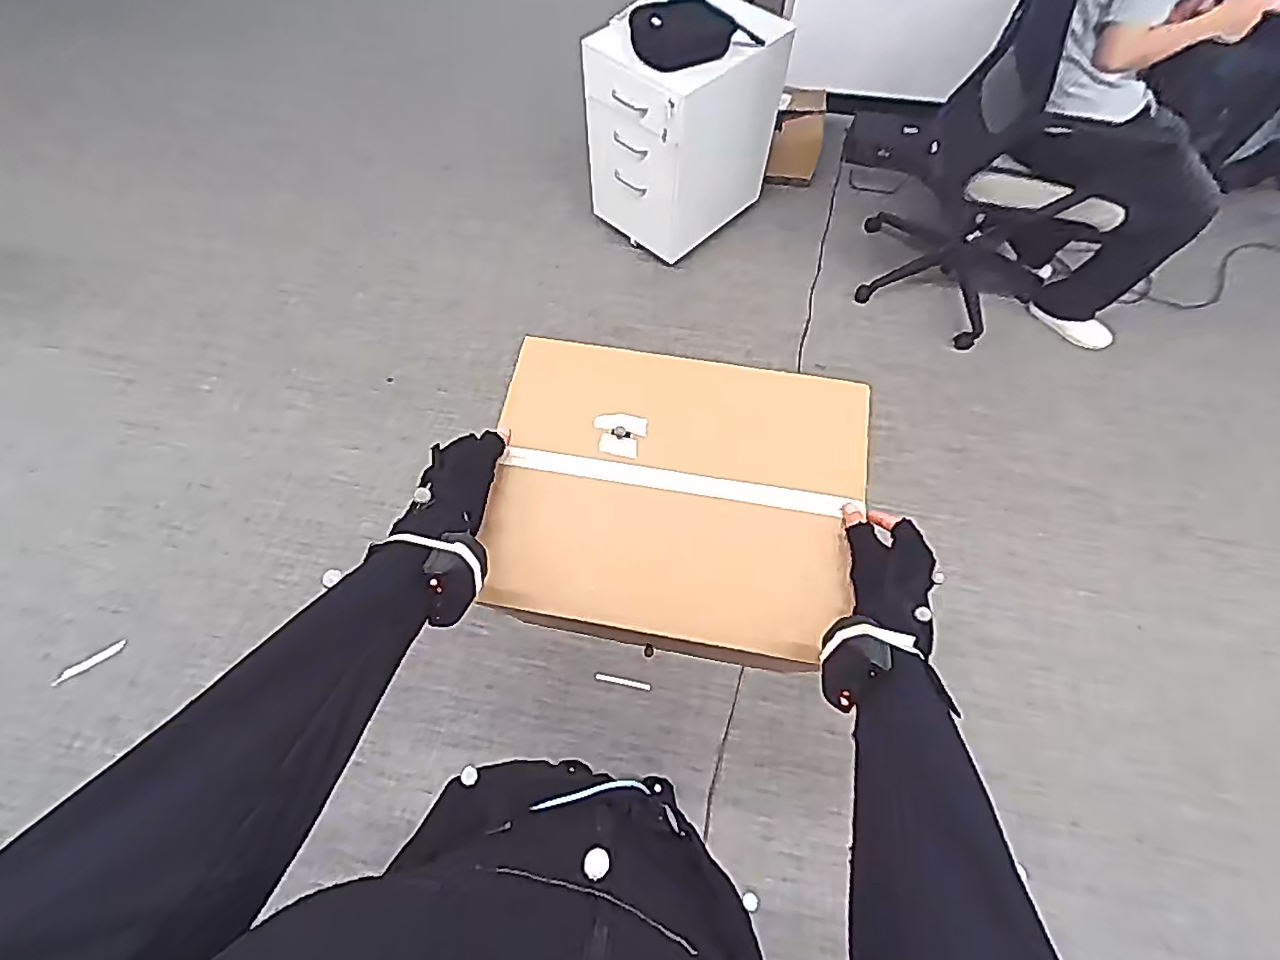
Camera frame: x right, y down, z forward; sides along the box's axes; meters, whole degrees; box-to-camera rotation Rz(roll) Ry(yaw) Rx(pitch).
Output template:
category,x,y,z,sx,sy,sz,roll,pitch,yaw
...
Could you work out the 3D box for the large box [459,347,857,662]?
category,x,y,z,sx,sy,sz,roll,pitch,yaw
large box,0.039,0.056,0.731,0.408,0.320,0.320,9,70,6
